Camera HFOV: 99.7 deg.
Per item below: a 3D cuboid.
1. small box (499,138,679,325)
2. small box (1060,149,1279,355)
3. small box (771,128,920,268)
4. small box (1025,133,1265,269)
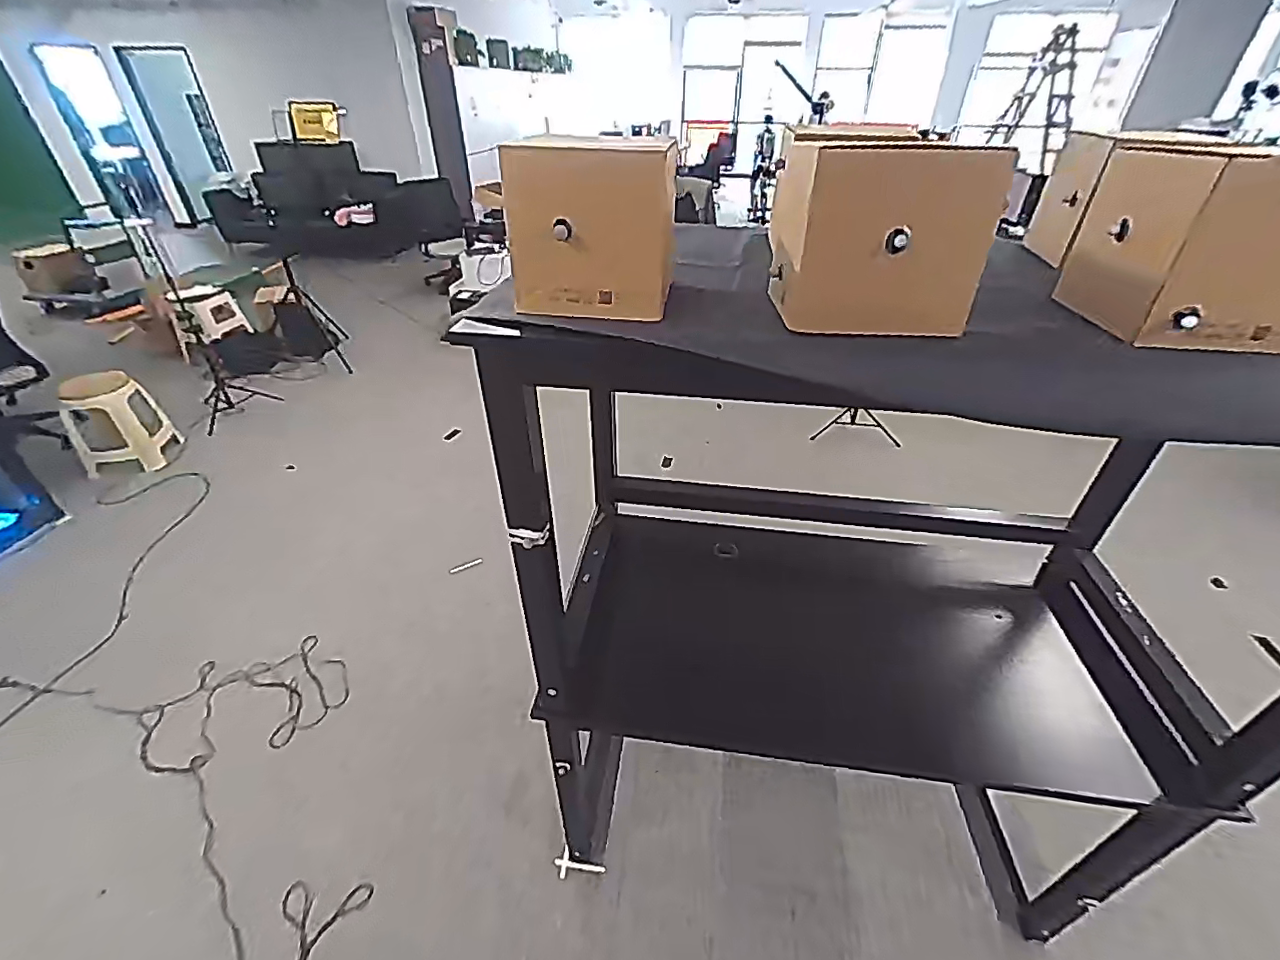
[{"bbox_3d":[-0.045,-0.287,0.621,0.168,0.176,0.179,4,36,5],"label":"small box"},{"bbox_3d":[0.586,-0.236,0.552,0.168,0.176,0.179,5,34,7],"label":"small box"},{"bbox_3d":[0.299,-0.433,0.826,0.168,0.176,0.179,5,36,6],"label":"small box"},{"bbox_3d":[0.709,-0.401,0.789,0.168,0.176,0.179,9,36,10],"label":"small box"}]
